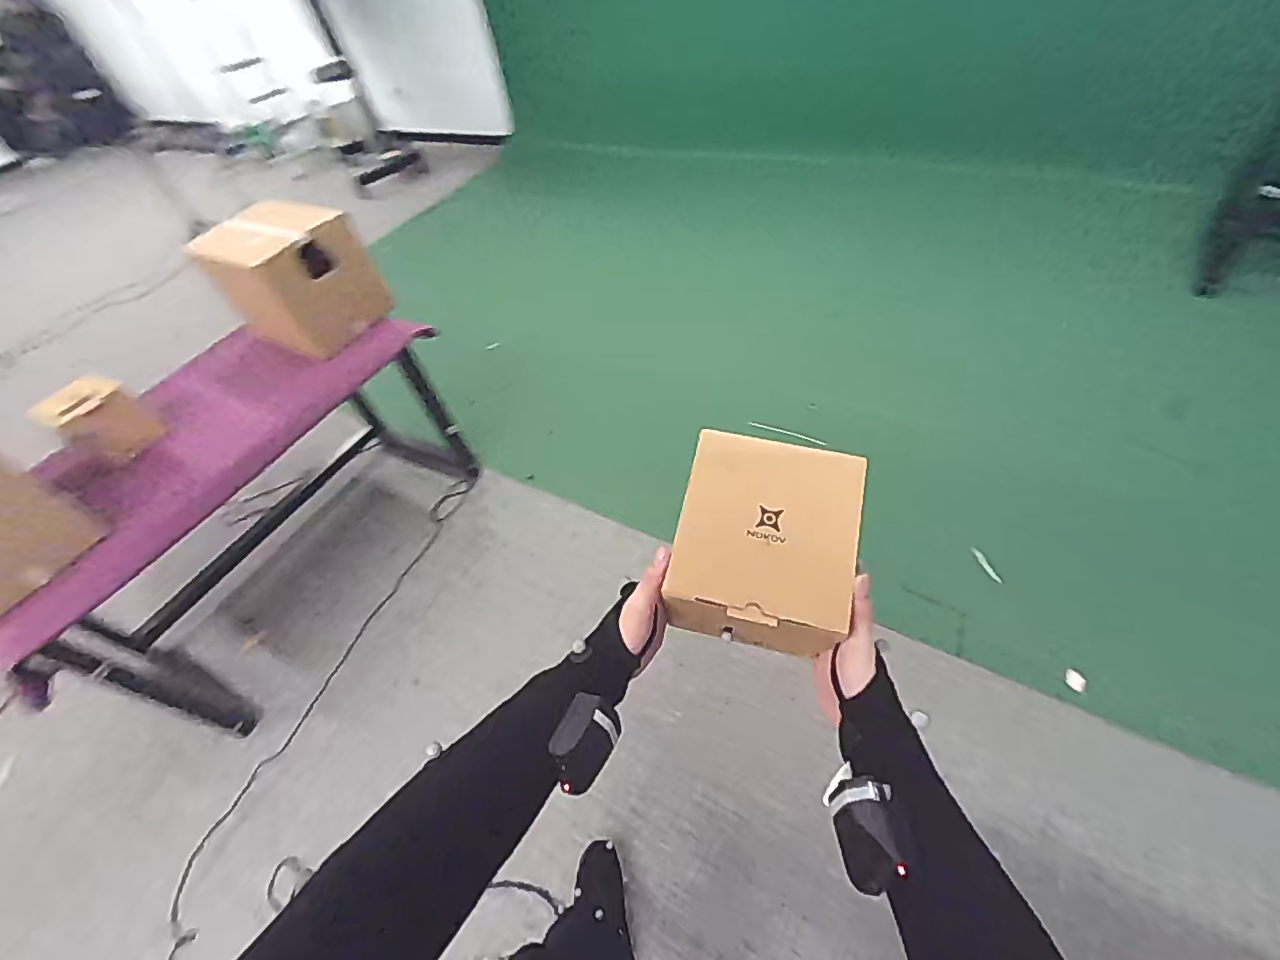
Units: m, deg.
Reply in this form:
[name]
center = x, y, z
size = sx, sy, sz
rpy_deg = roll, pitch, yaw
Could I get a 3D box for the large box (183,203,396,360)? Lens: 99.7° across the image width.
[large box]
center = -1.059, -0.615, 1.668
size = 0.408, 0.320, 0.320
rpy_deg = 20, 58, 24
